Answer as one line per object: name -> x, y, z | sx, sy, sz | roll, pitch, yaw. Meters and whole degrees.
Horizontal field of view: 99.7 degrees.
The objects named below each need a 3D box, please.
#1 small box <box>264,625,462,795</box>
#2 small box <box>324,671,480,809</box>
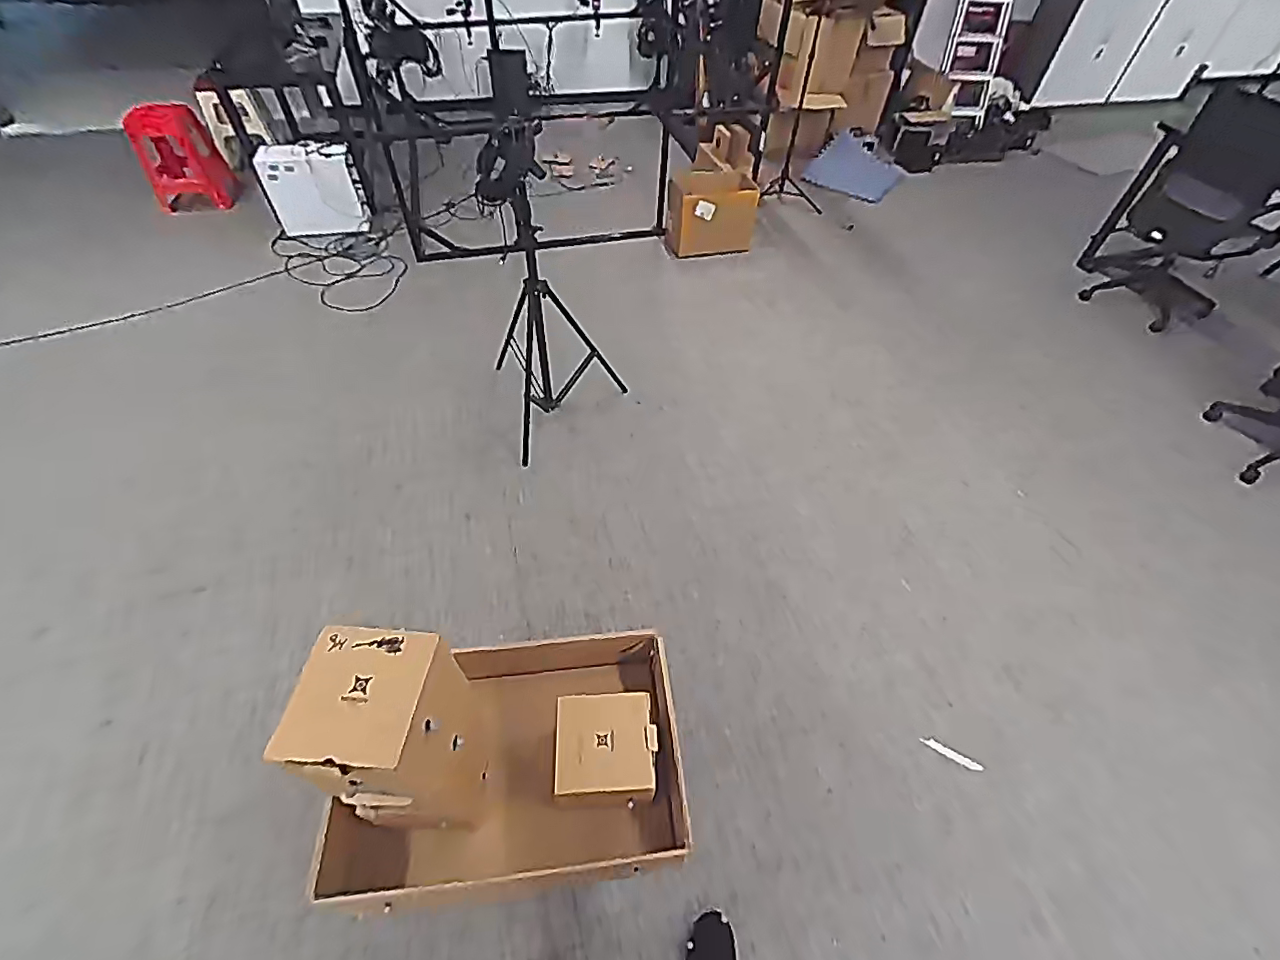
small box -> -0.365, 0.325, 0.757 | 0.168, 0.176, 0.179 | 5, 50, 1
small box -> -0.372, 0.427, 0.886 | 0.168, 0.176, 0.179 | 2, 49, -1
